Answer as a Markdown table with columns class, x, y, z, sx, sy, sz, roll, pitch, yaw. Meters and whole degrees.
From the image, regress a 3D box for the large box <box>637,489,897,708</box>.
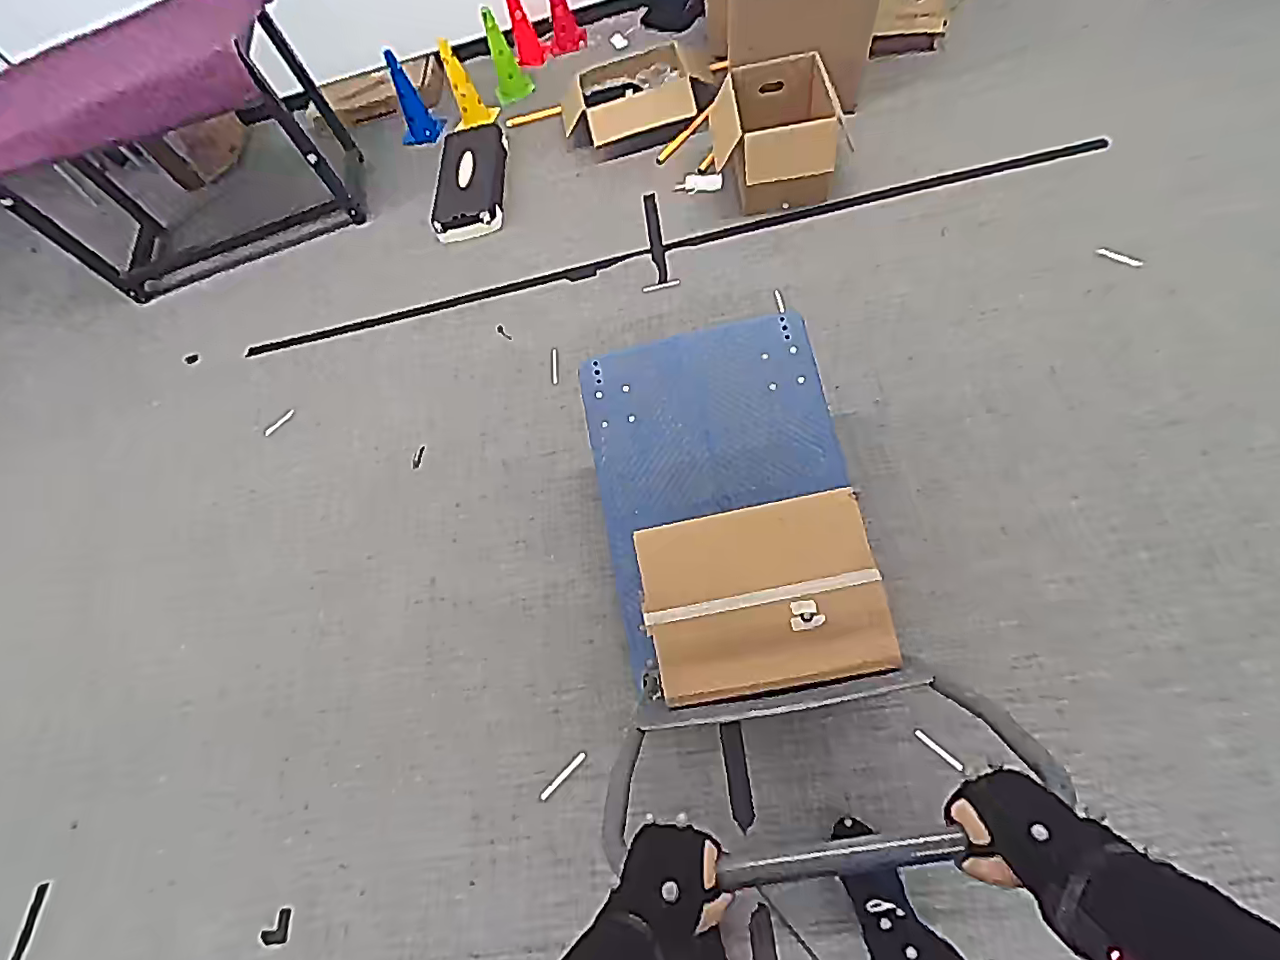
| class | x | y | z | sx | sy | sz | roll | pitch | yaw |
| --- | --- | --- | --- | --- | --- | --- | --- | --- | --- |
| large box | 0.232 | 0.235 | 1.106 | 0.408 | 0.320 | 0.320 | -13 | 80 | 4 |
